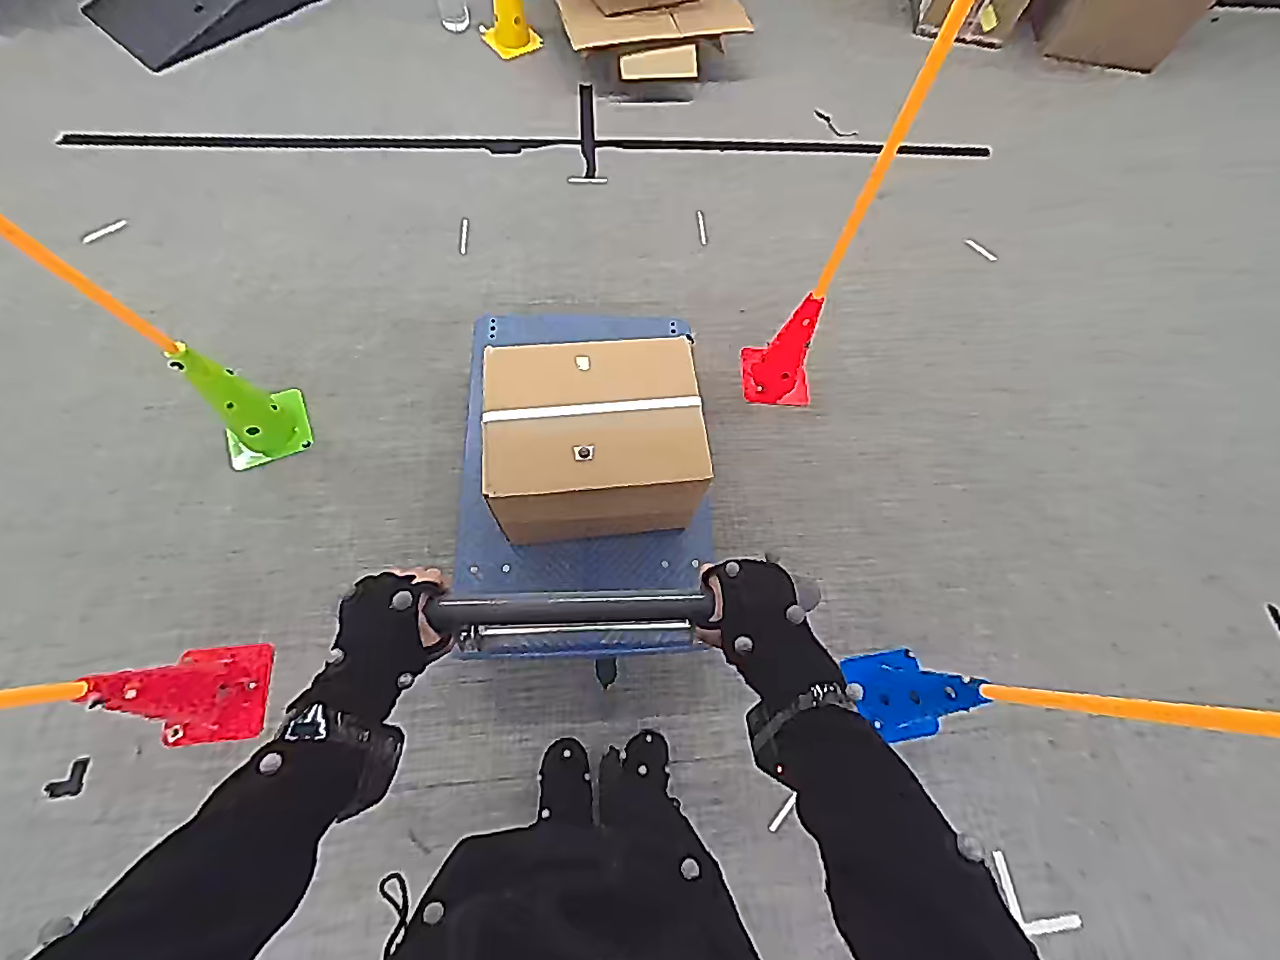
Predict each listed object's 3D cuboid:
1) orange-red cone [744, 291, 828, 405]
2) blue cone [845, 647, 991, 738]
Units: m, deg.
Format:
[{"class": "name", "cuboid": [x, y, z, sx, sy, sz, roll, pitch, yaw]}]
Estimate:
[{"class": "orange-red cone", "cuboid": [0.429, -0.383, 1.481, 0.199, 0.360, 0.198, 4, 68, -4]}, {"class": "blue cone", "cuboid": [0.622, 0.450, 1.165, 0.193, 0.380, 0.192, -6, 67, -8]}]
